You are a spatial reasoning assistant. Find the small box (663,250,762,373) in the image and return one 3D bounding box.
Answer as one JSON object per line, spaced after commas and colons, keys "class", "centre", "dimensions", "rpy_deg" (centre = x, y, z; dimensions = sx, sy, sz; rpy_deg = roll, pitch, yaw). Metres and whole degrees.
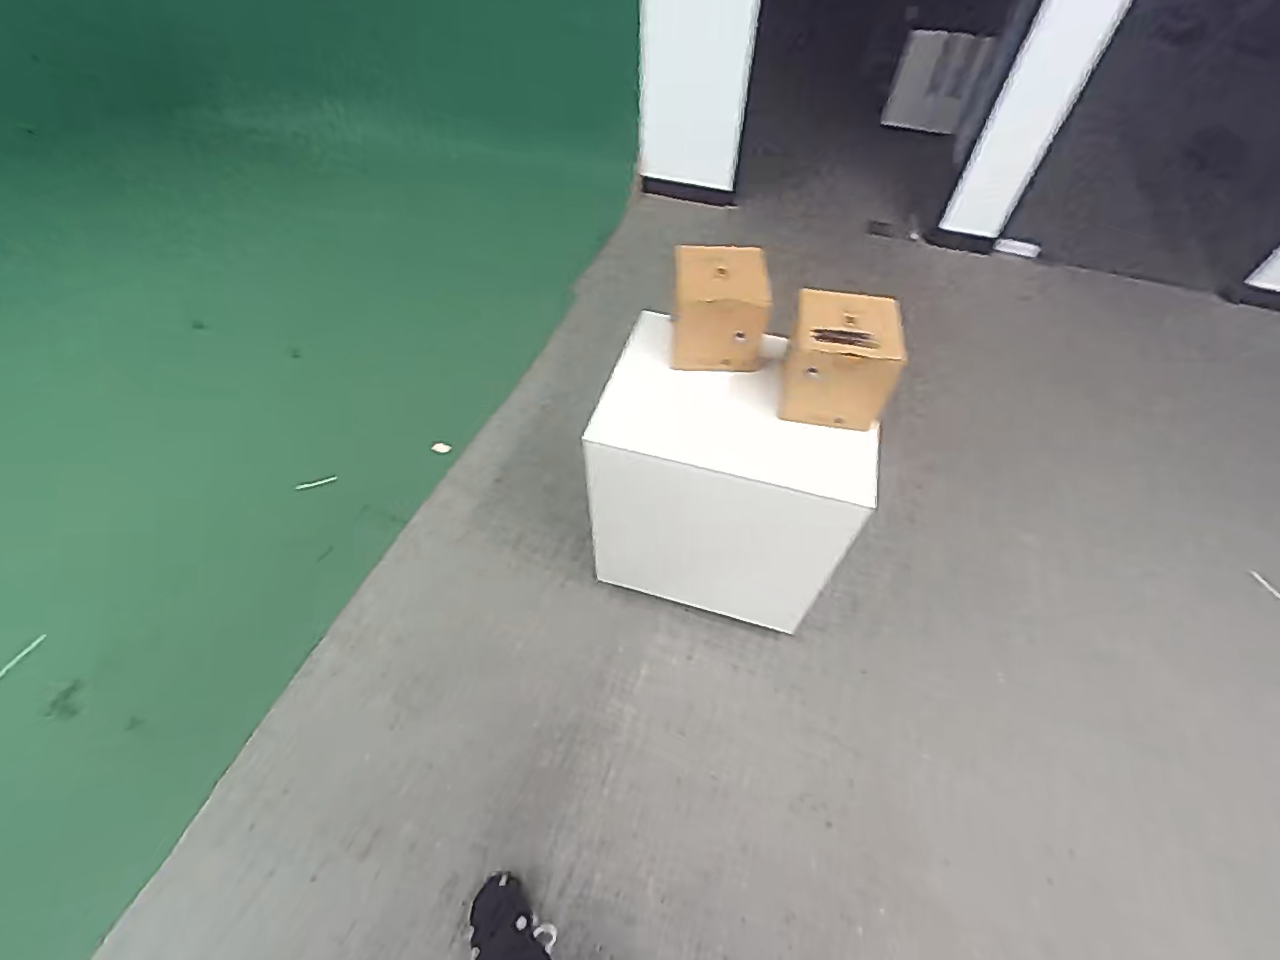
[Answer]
{"class": "small box", "centre": [0.133, -0.326, 1.059], "dimensions": [0.168, 0.176, 0.179], "rpy_deg": [1, 53, -2]}
